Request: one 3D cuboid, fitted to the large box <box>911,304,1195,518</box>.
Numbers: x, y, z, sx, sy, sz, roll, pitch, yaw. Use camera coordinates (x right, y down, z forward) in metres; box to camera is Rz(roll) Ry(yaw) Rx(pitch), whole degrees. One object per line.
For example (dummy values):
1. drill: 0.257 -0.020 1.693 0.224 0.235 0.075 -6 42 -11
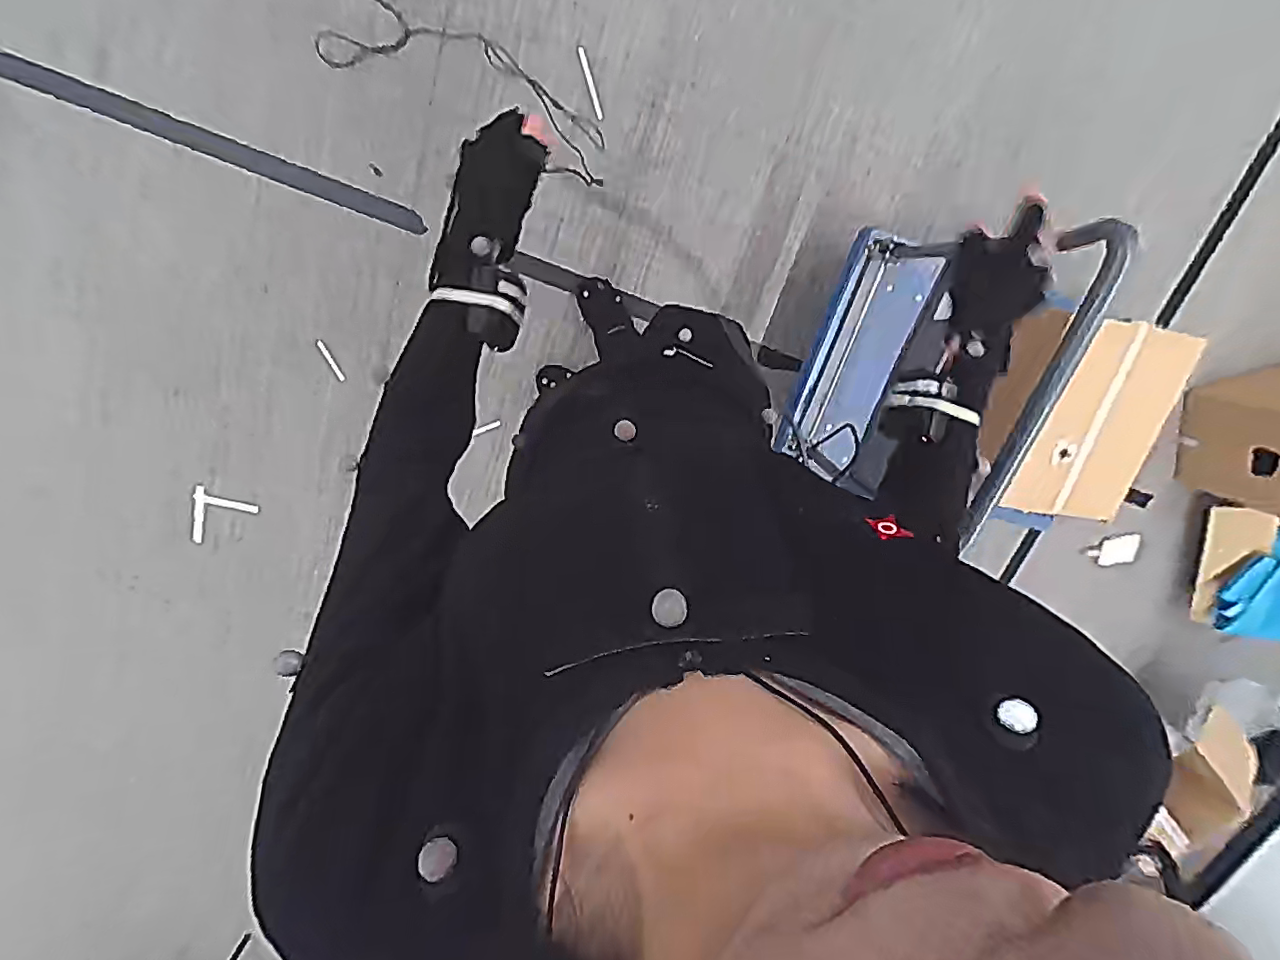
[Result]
1. large box: 0.908 -0.170 1.251 0.320 0.320 0.408 8 110 -8
